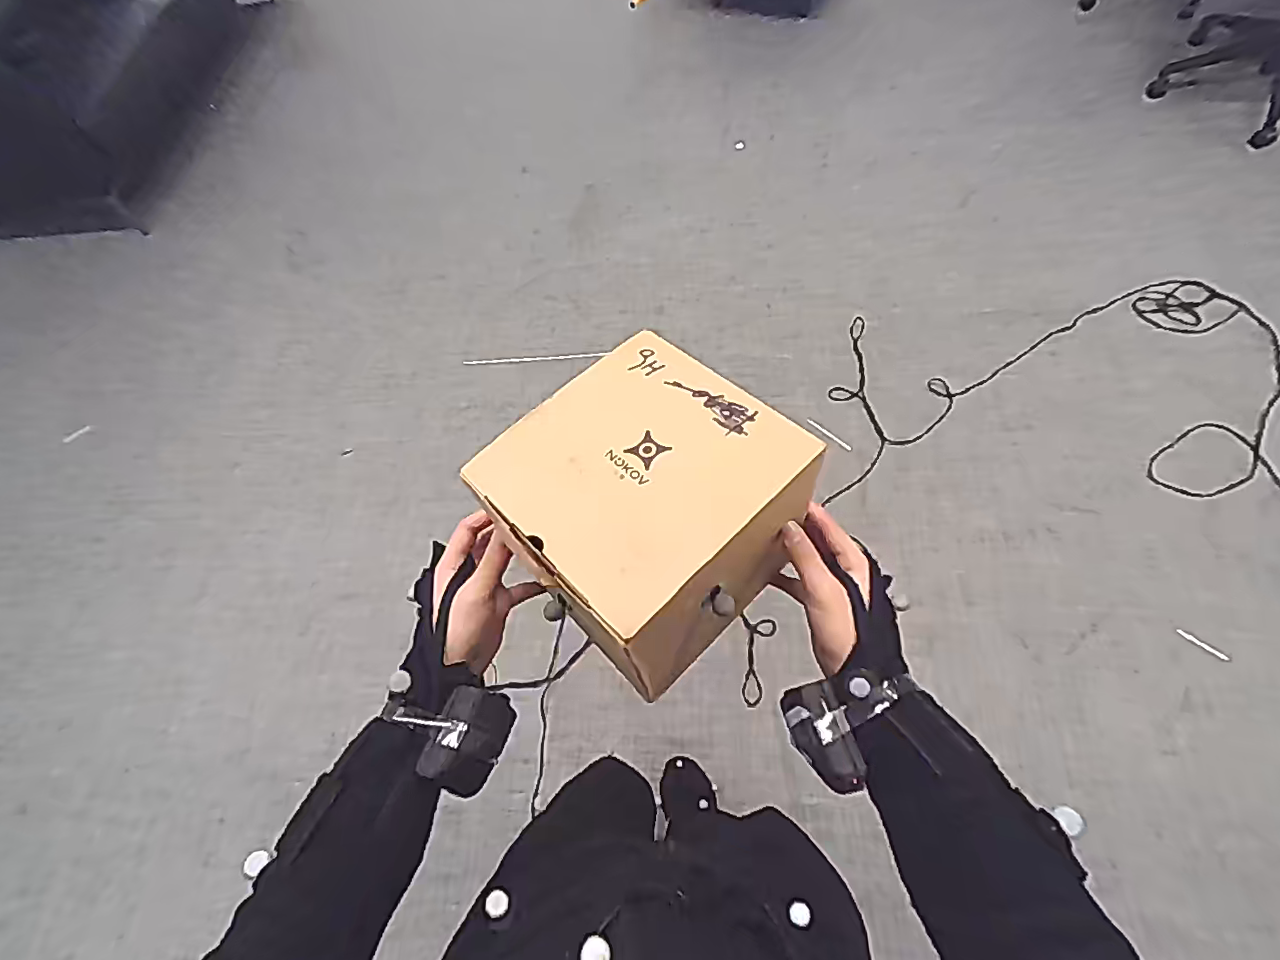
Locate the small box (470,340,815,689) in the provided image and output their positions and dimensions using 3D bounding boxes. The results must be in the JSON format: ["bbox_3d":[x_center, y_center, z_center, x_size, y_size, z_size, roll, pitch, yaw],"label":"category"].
[{"bbox_3d":[0.009,0.033,0.423,0.179,0.176,0.168,-41,62,-17],"label":"small box"}]
